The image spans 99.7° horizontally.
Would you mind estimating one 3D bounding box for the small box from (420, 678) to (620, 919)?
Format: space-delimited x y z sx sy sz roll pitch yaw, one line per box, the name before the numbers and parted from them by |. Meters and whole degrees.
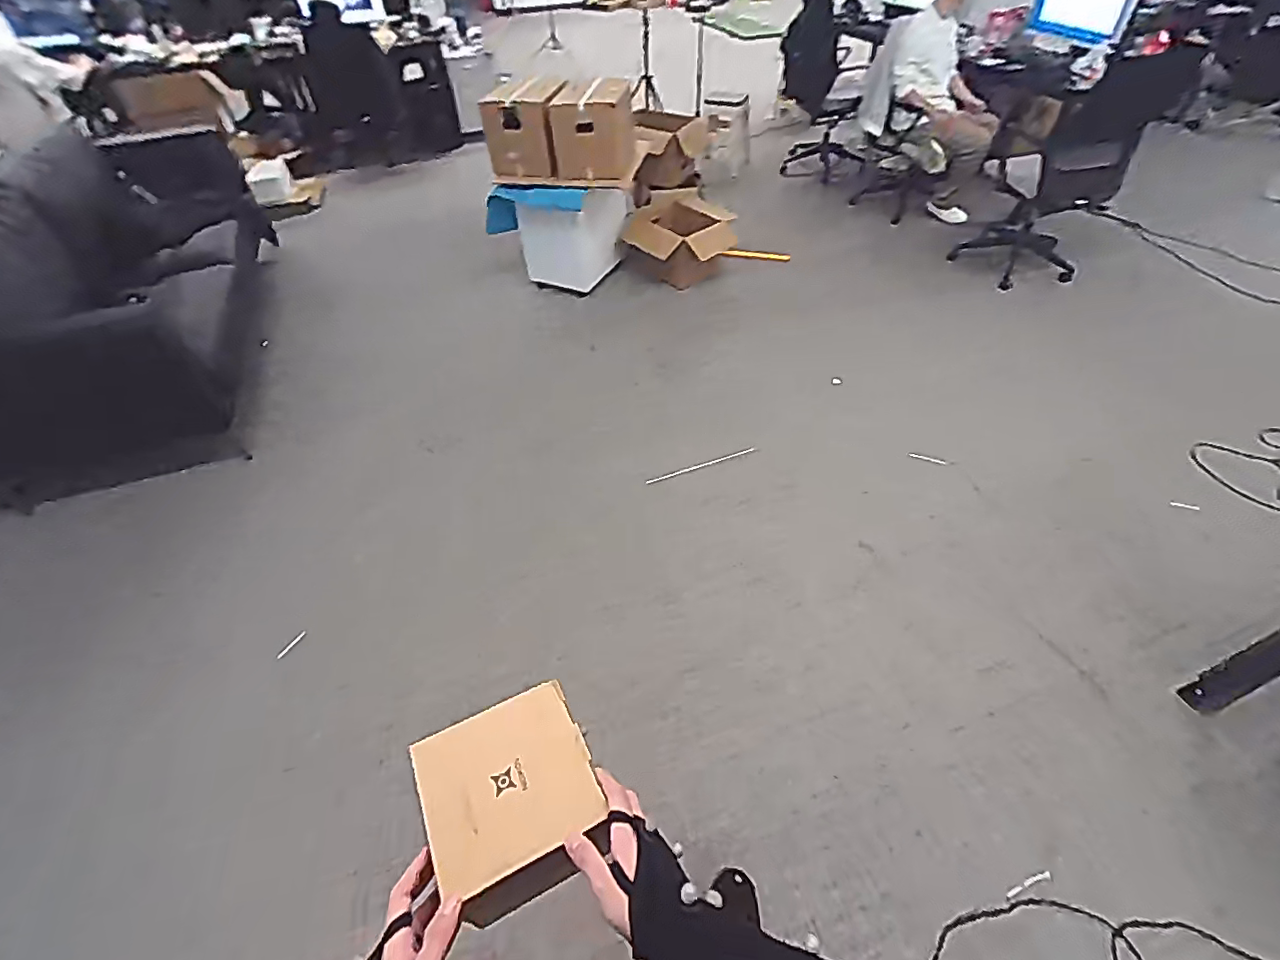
small box | -0.133 0.370 0.632 0.179 0.176 0.168 -20 49 -18
